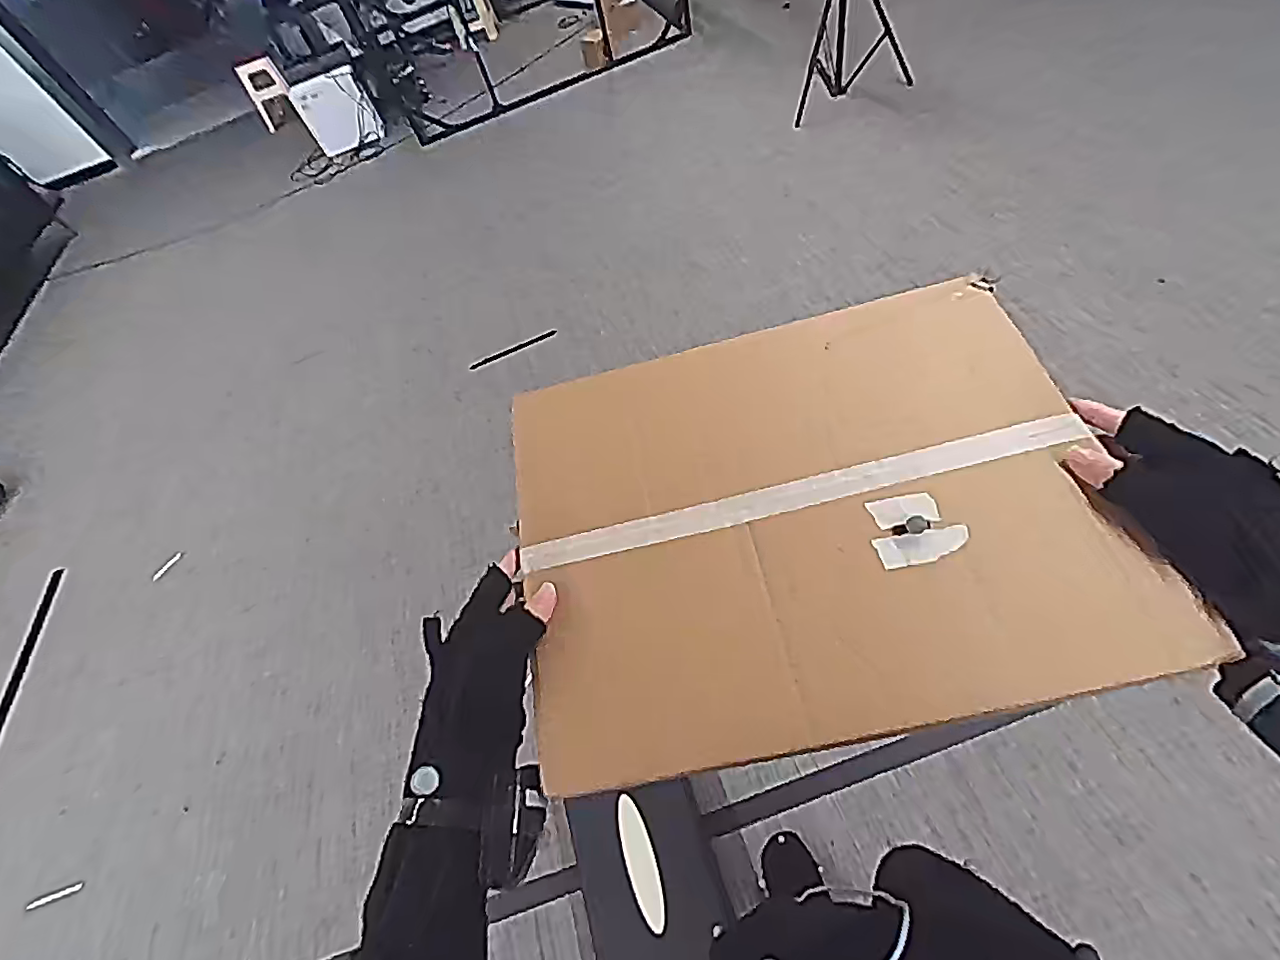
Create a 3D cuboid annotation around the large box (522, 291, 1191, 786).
[{"bbox_3d":[0.136,0.084,0.534,0.408,0.320,0.320,-14,62,4],"label":"large box"}]
